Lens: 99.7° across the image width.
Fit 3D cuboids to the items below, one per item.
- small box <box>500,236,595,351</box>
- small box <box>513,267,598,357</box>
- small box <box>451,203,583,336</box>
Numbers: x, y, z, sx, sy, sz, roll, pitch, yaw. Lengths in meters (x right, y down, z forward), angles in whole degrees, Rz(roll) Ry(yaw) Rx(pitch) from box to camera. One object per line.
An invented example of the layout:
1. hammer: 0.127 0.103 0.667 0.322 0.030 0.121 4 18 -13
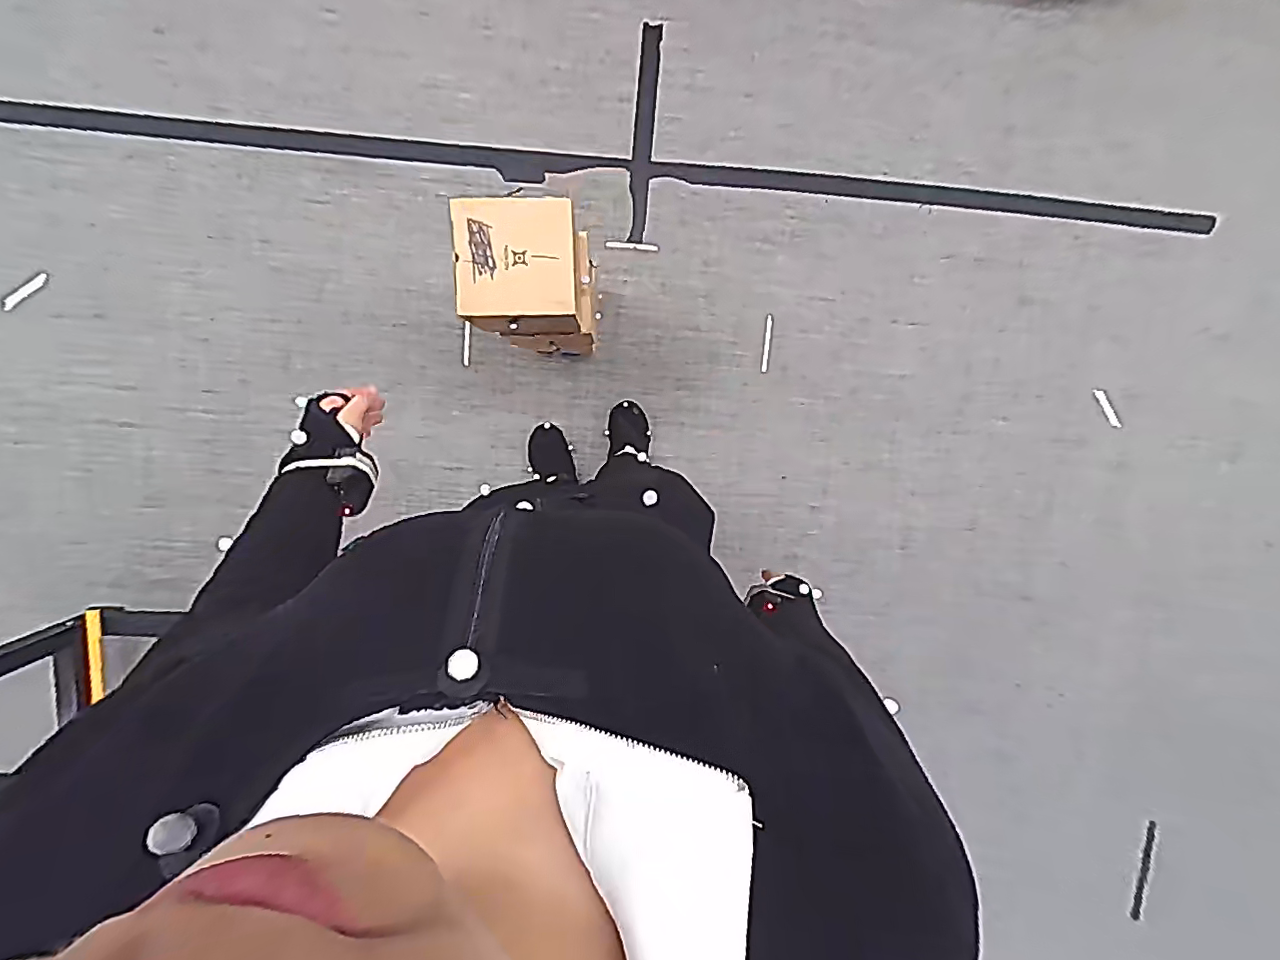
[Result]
1. small box: -0.173 -0.346 1.027 0.168 0.176 0.179 -2 98 -2
2. small box: -0.180 -0.368 1.191 0.168 0.176 0.179 2 98 -3
3. small box: -0.186 -0.325 0.863 0.179 0.176 0.168 -1 97 -3
